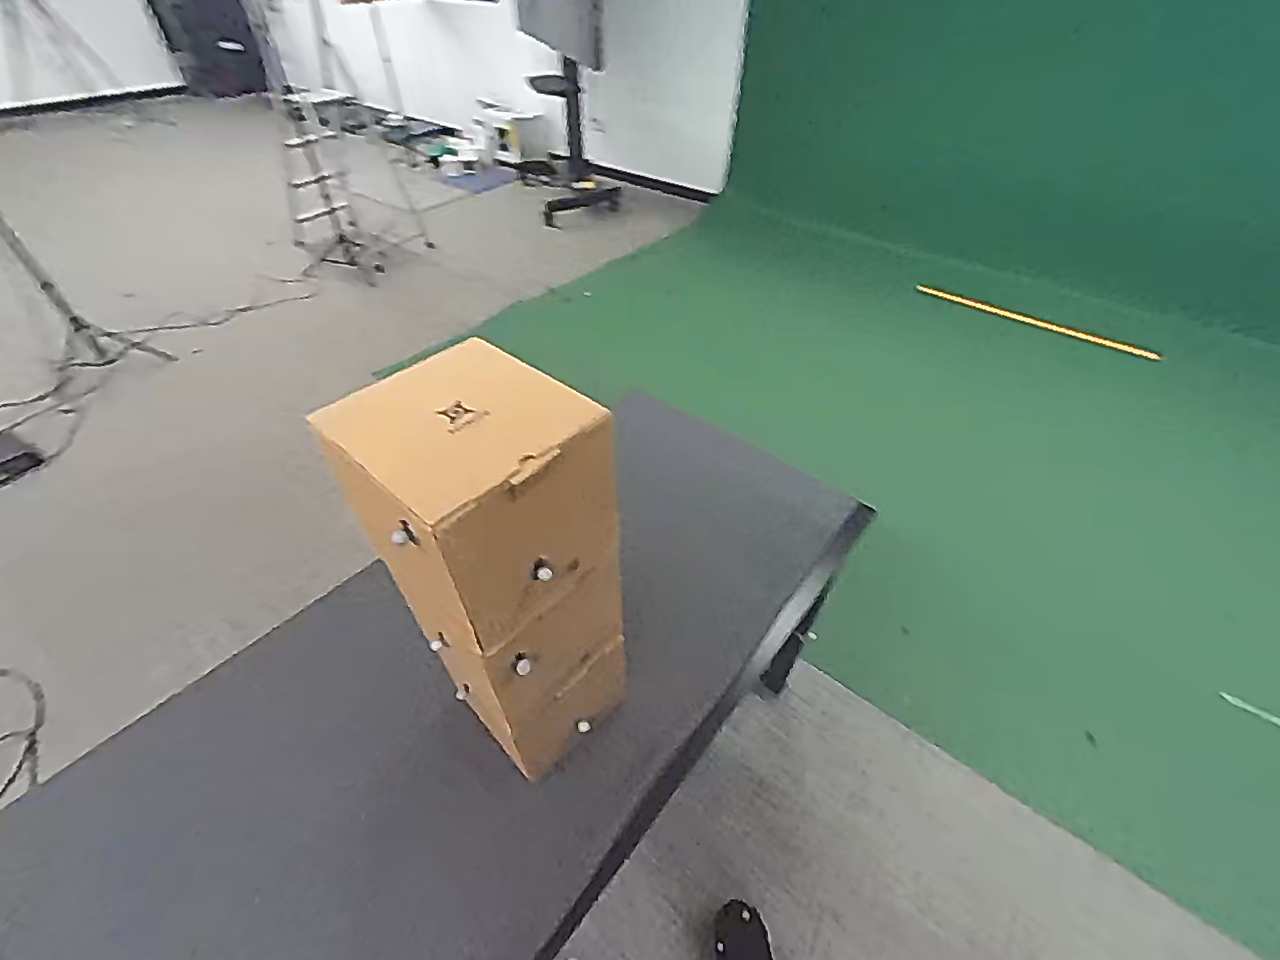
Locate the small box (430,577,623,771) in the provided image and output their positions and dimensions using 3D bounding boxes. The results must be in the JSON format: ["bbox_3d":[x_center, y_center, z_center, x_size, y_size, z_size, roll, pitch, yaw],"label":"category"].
[{"bbox_3d":[-0.138,0.233,0.700,0.168,0.176,0.179,-35,54,-30],"label":"small box"}]

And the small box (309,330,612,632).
[{"bbox_3d":[-0.141,-0.003,0.473,0.179,0.176,0.168,31,51,28],"label":"small box"}]
